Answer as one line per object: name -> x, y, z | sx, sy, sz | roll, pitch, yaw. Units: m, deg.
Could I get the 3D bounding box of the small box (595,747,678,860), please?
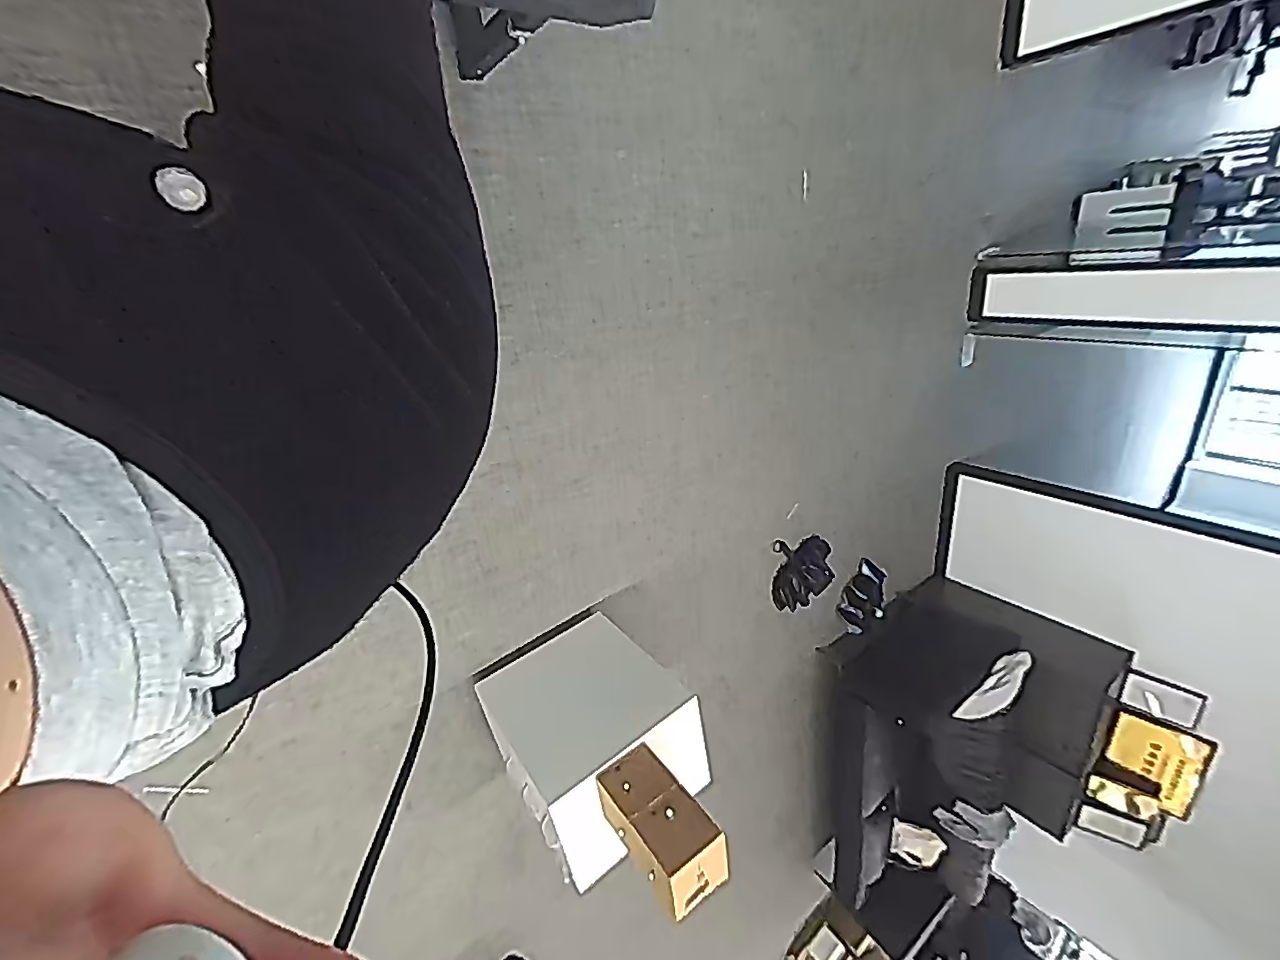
small box -> -0.006, 0.856, 1.456 | 0.168, 0.176, 0.179 | -23, 120, -28

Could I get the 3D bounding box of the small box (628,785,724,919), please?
small box -> 0.088, 0.904, 1.330 | 0.168, 0.176, 0.179 | -22, 118, -29
